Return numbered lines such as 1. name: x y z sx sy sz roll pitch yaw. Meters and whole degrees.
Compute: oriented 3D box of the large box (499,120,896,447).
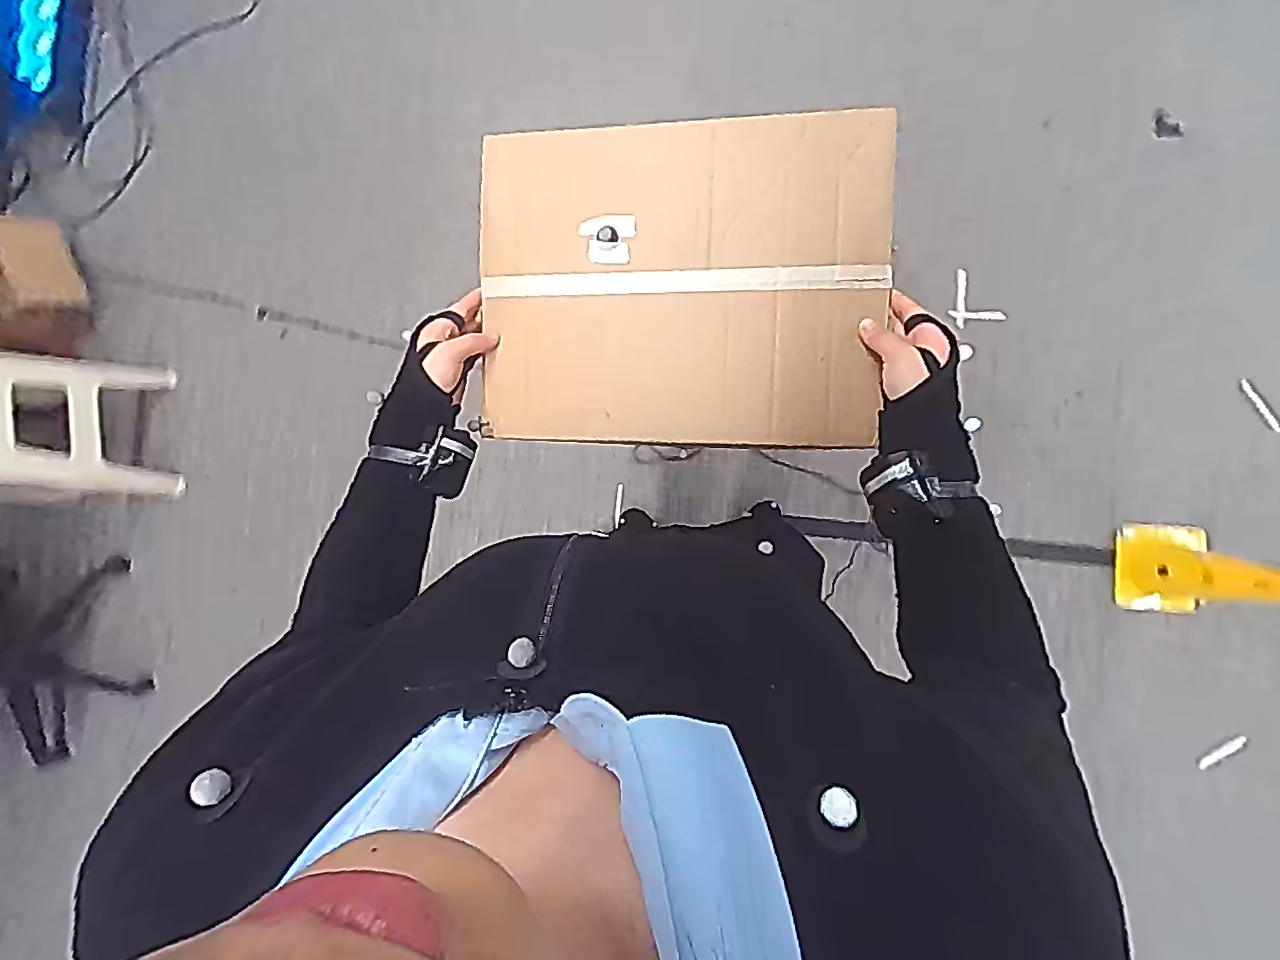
1. large box: 0.071 -0.201 0.696 0.408 0.320 0.320 3 92 10
